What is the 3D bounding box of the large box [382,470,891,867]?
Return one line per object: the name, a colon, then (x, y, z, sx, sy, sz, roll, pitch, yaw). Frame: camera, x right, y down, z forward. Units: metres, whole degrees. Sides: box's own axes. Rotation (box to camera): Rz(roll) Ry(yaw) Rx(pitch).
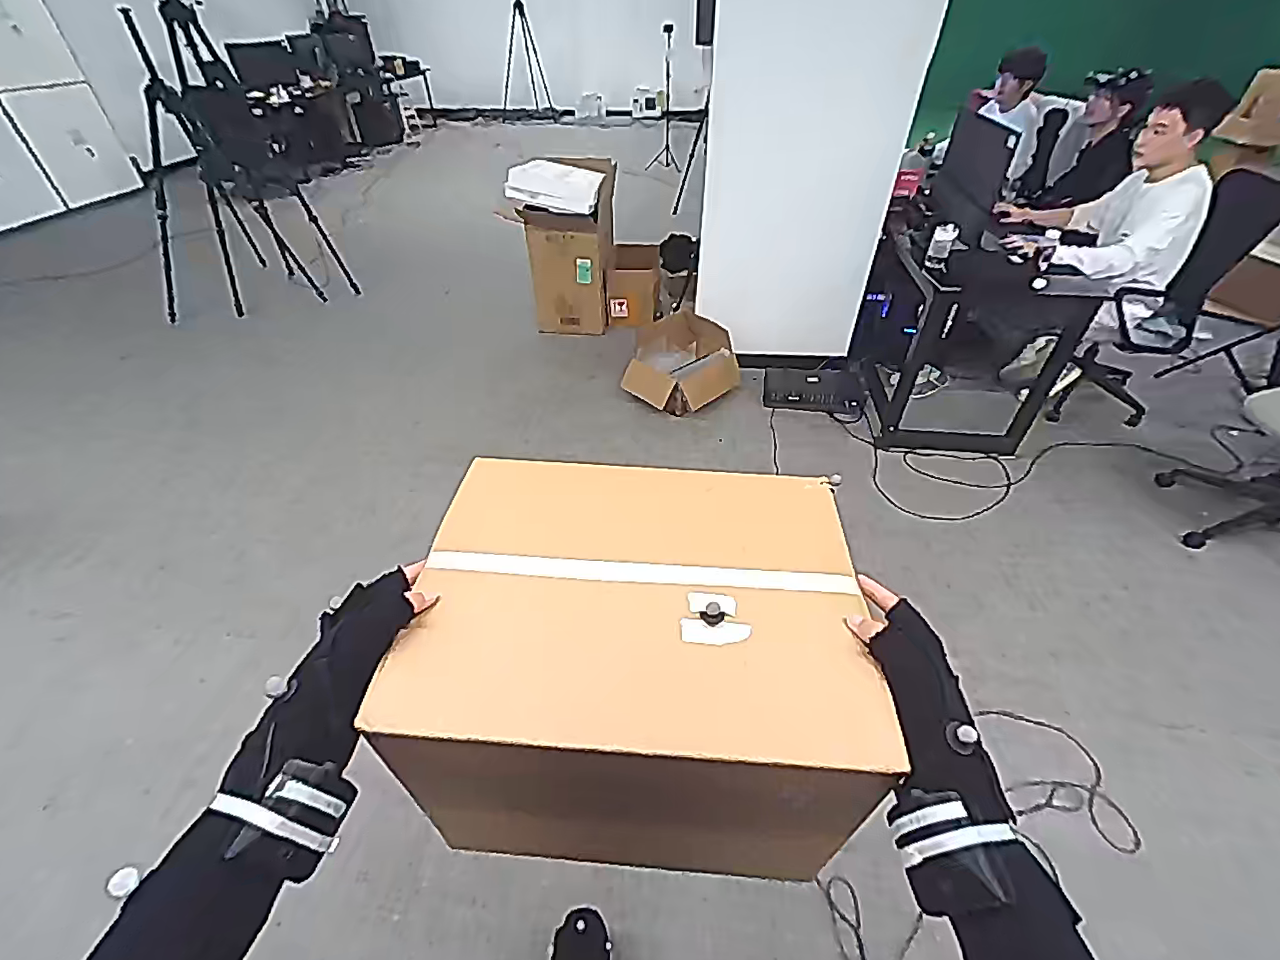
large box: (-0.001, 0.209, 0.621, 0.408, 0.320, 0.320, 4, 42, 2)
